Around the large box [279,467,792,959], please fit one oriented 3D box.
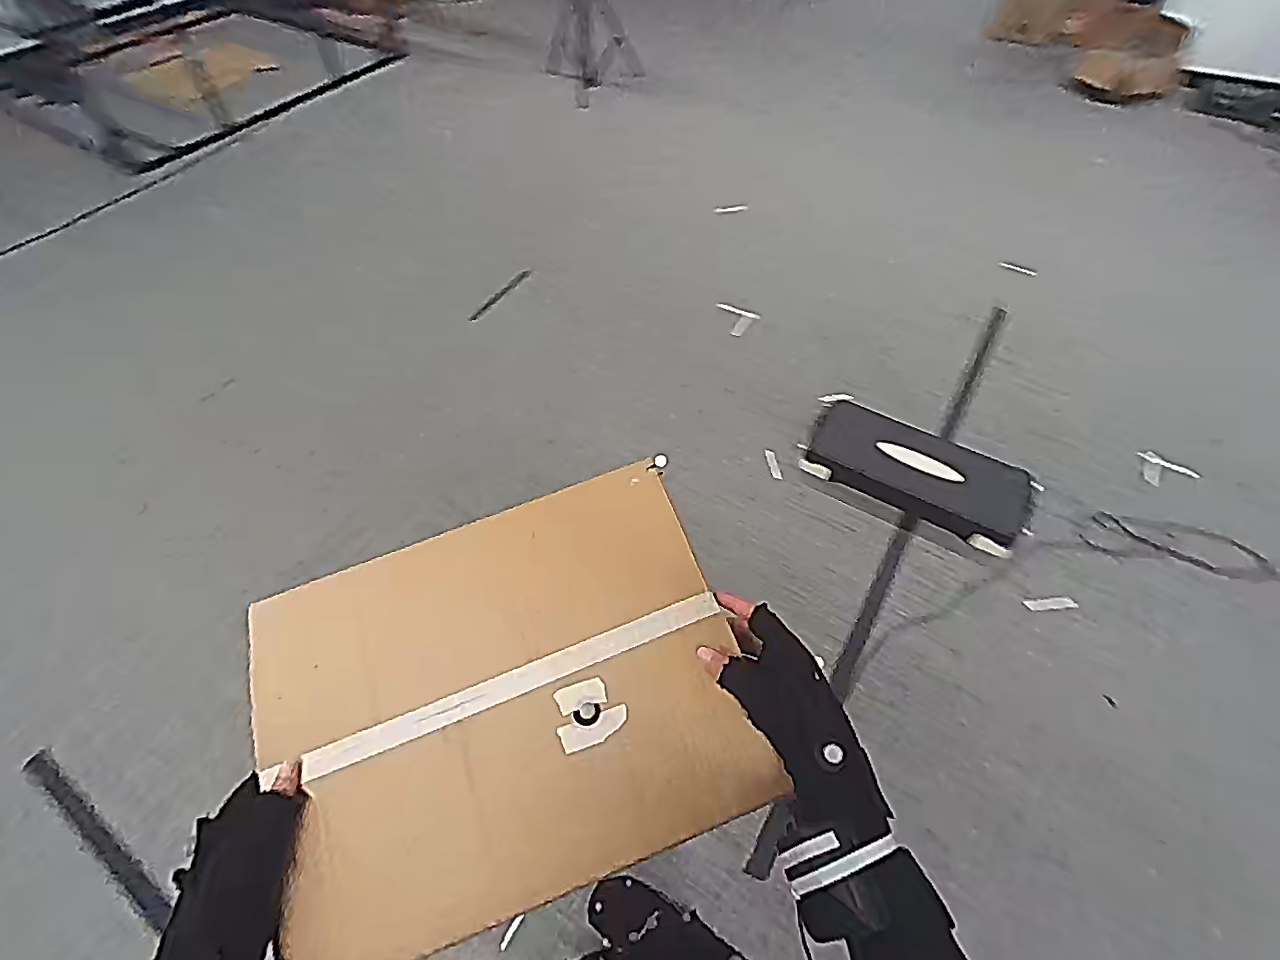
[{"bbox_3d":[-0.104,0.243,0.611,0.408,0.320,0.320,-19,67,-6],"label":"large box"}]
